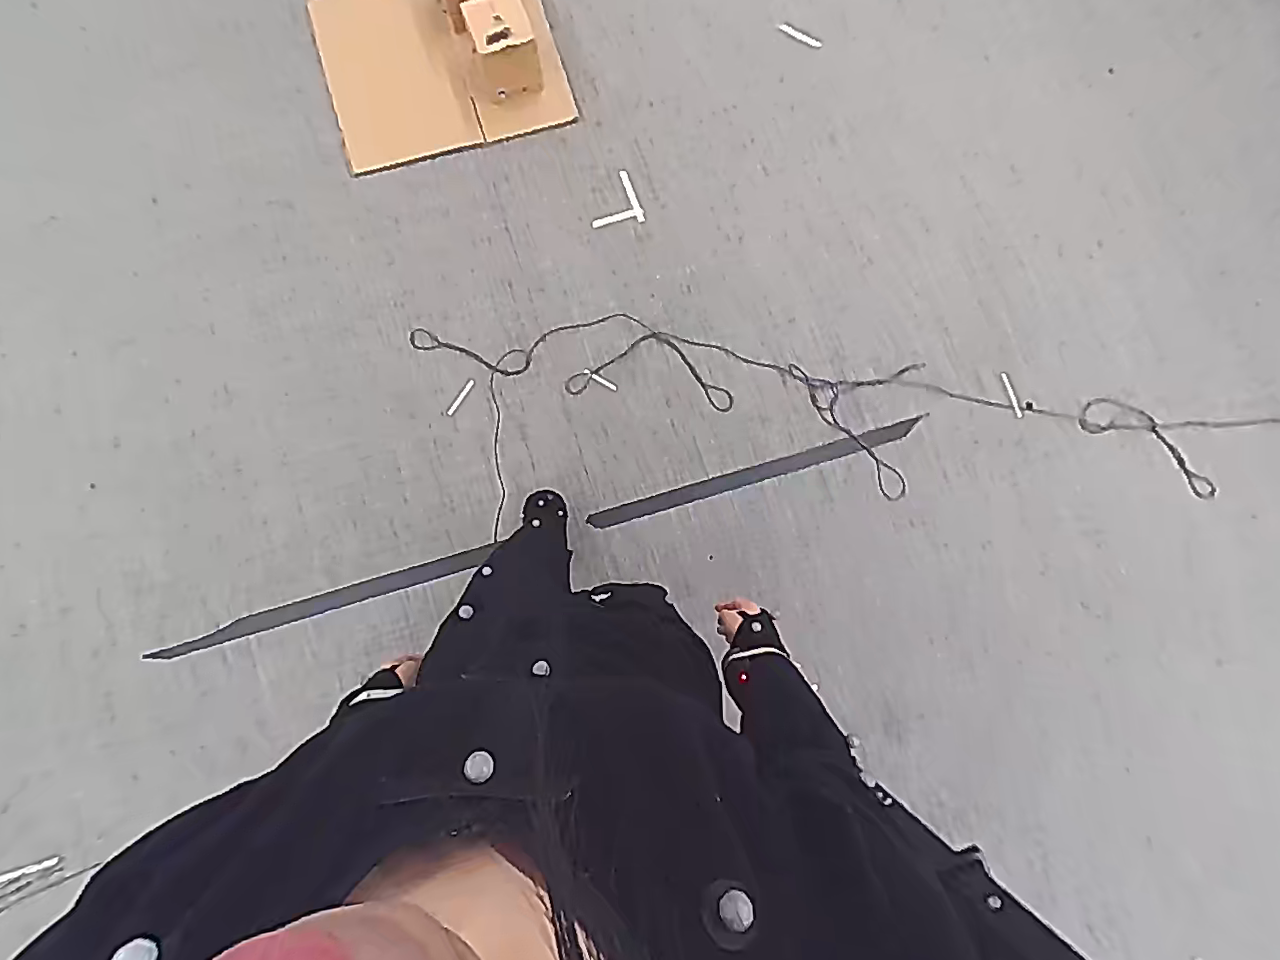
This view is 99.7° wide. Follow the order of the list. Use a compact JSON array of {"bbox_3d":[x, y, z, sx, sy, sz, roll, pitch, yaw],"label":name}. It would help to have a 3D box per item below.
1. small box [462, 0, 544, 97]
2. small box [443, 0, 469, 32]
[{"bbox_3d":[-0.390,-1.258,1.570,0.168,0.176,0.179,-21,84,-5],"label":"small box"},{"bbox_3d":[-0.509,-1.487,1.598,0.179,0.176,0.168,-23,83,-5],"label":"small box"}]
